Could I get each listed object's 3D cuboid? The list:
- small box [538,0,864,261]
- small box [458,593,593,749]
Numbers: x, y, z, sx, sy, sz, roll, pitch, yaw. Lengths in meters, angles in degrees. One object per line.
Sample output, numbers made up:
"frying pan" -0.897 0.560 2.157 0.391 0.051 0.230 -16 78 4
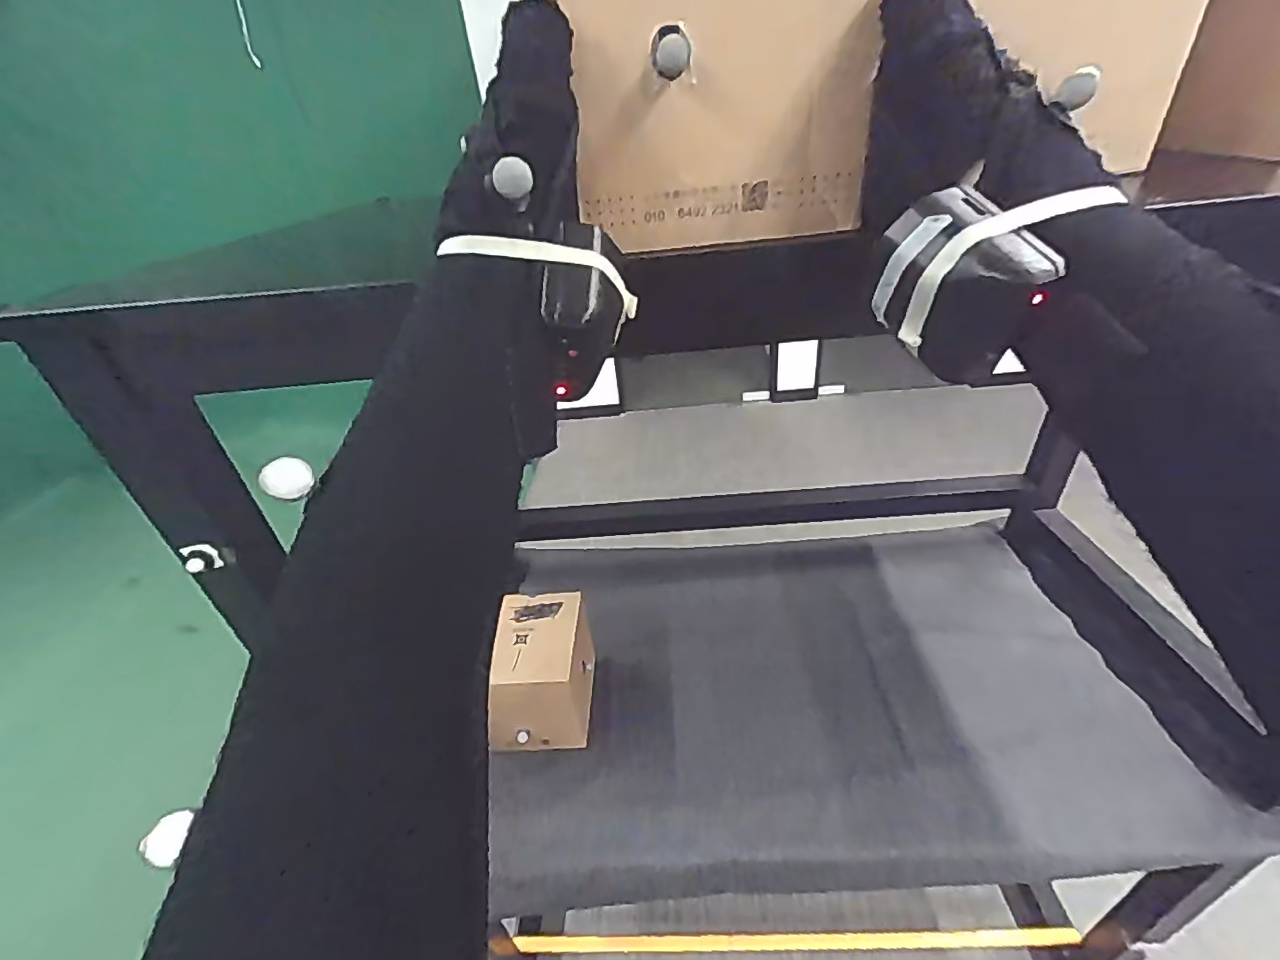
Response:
"small box" 0.037 -0.247 0.352 0.168 0.176 0.179 -5 32 3
"small box" -0.171 0.307 0.877 0.168 0.176 0.179 -4 33 3
